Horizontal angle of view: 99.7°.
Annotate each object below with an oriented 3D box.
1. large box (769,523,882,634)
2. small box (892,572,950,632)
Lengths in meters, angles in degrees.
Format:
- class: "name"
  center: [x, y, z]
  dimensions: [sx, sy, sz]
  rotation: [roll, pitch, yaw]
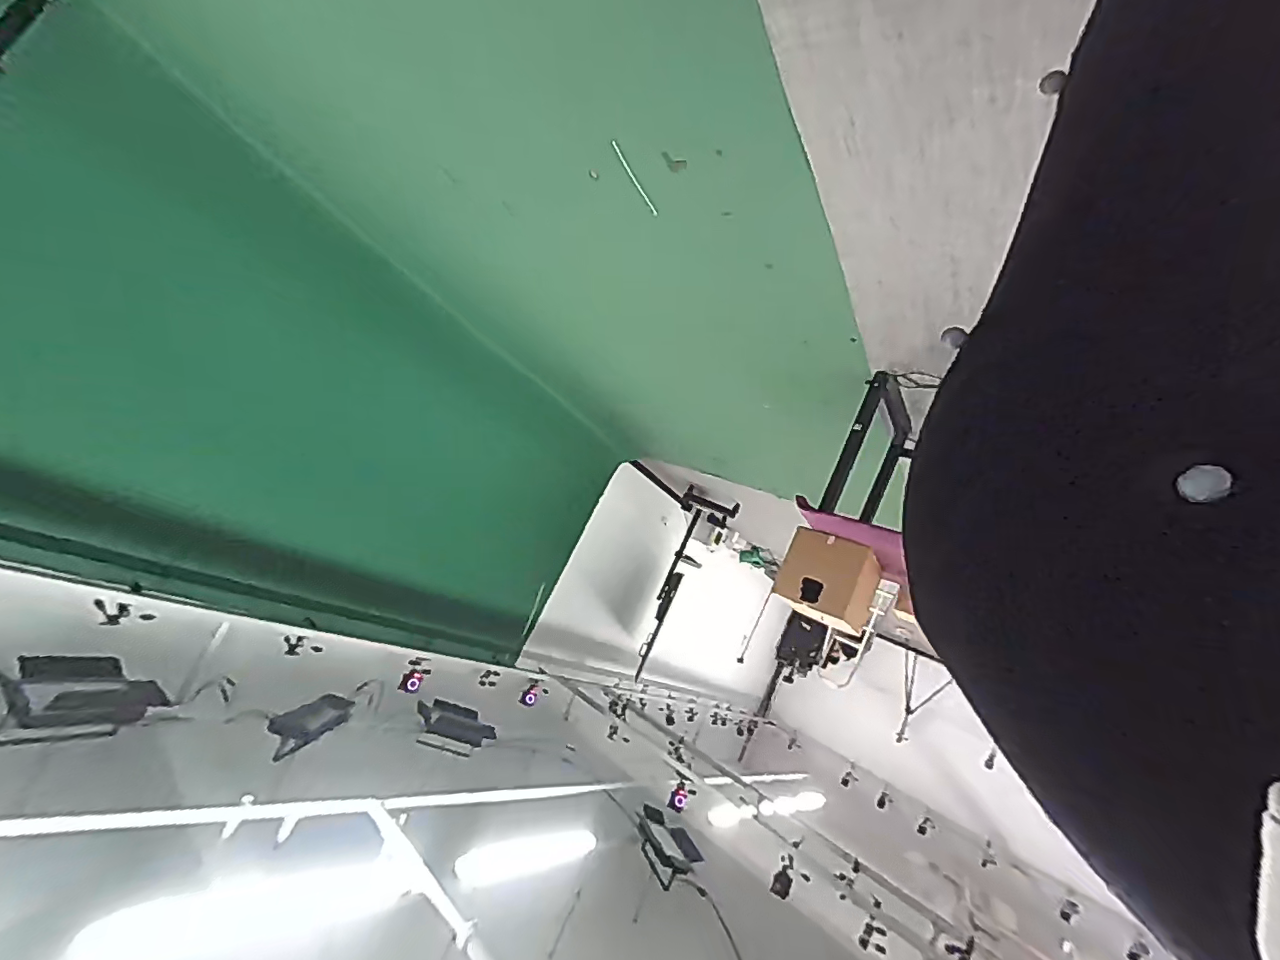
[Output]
- class: "large box"
  center: [0.813, 0.427, 2.333]
  dimensions: [0.320, 0.320, 0.408]
  rotation: [17, 166, 37]
- class: "small box"
  center: [1.159, 0.501, 2.220]
  dimensions: [0.168, 0.176, 0.179]
  rotation: [18, 166, 37]
